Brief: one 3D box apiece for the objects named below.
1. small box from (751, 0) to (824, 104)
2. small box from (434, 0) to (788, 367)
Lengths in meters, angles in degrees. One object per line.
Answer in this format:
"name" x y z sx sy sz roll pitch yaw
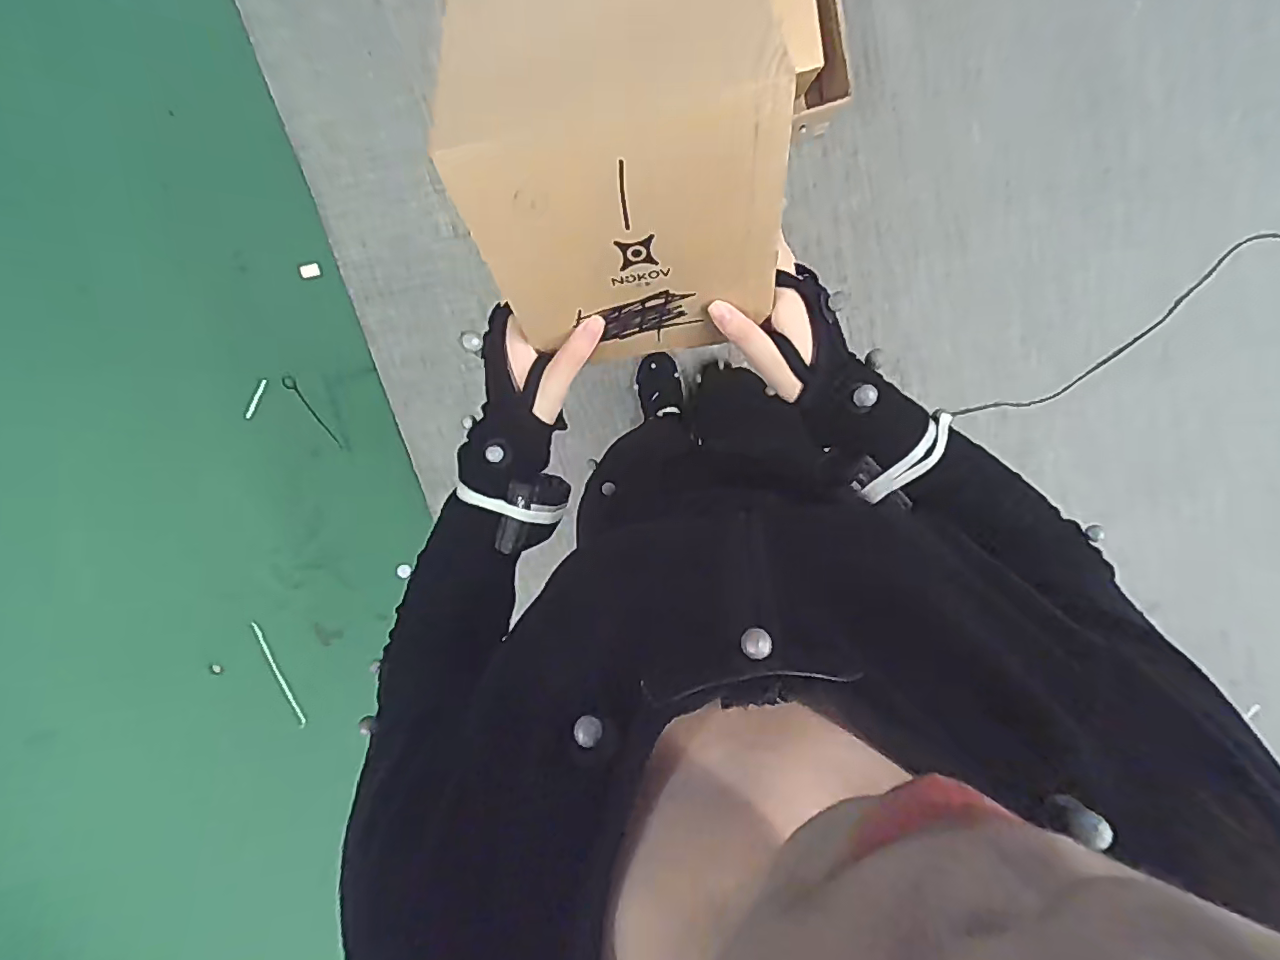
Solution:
"small box" 0.269 -0.902 1.135 0.168 0.176 0.179 -13 104 3
"small box" -0.009 -0.202 0.350 0.168 0.179 0.176 -8 65 6
